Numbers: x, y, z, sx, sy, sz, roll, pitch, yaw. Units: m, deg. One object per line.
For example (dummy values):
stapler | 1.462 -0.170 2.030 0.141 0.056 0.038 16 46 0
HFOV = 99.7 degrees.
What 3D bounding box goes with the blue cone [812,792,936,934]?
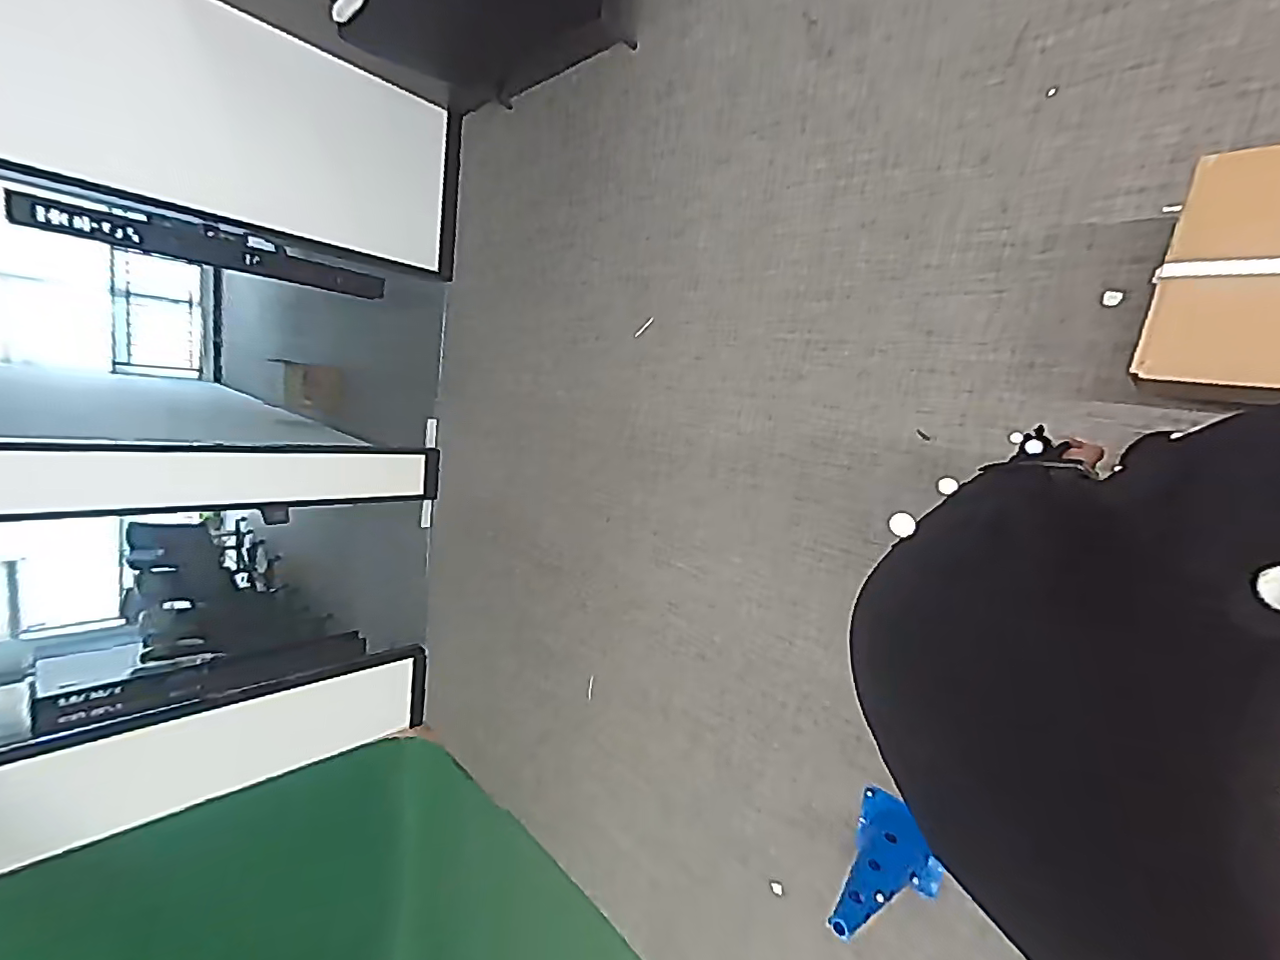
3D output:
blue cone | 0.504 0.902 1.220 0.192 0.380 0.193 17 102 44
